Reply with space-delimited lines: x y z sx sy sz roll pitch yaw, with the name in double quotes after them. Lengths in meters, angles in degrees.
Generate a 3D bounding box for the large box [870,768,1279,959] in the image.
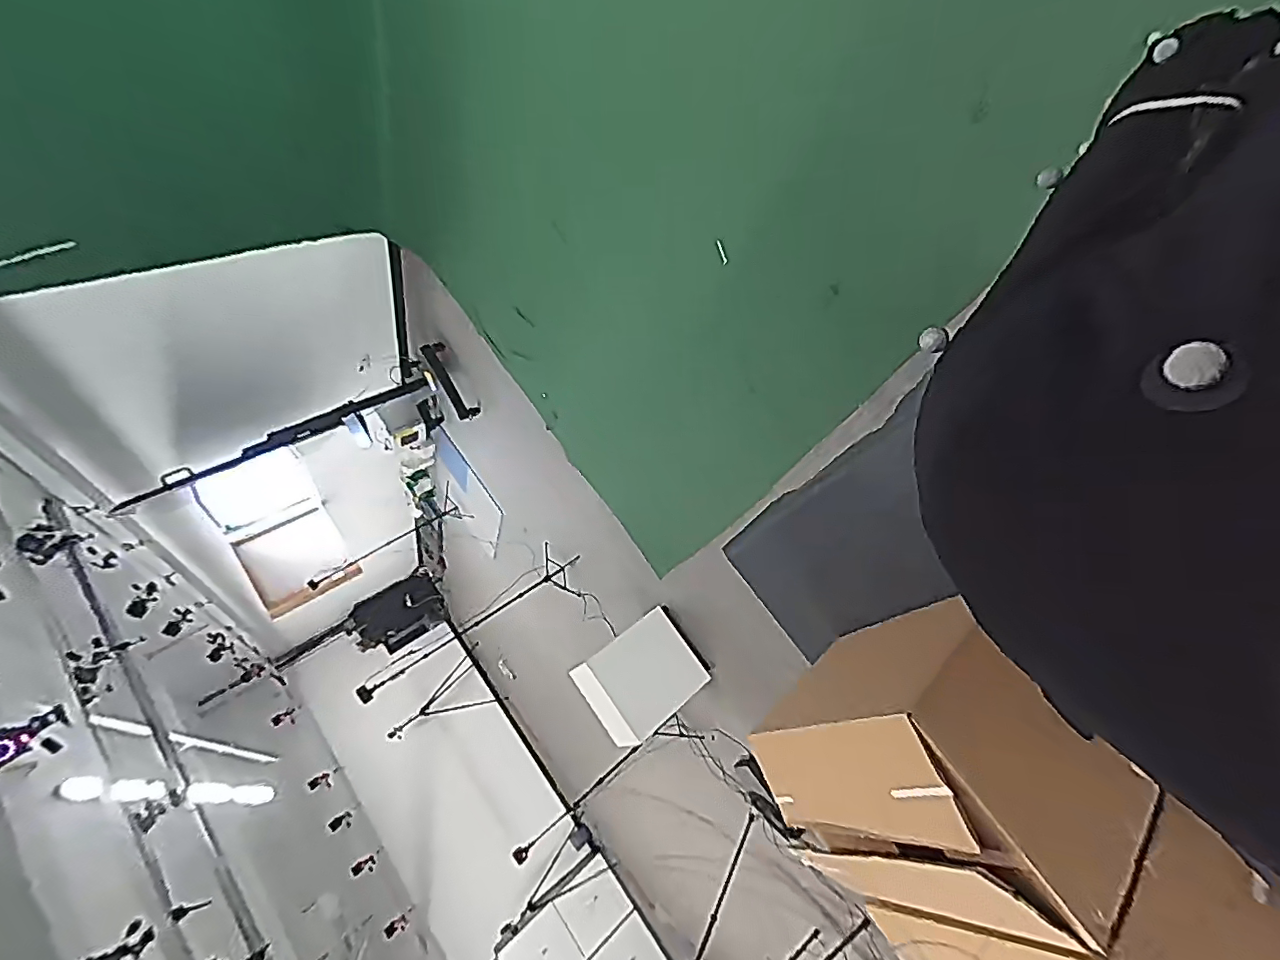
0.644 0.671 0.795 0.320 0.320 0.408 52 147 13 "large box"
